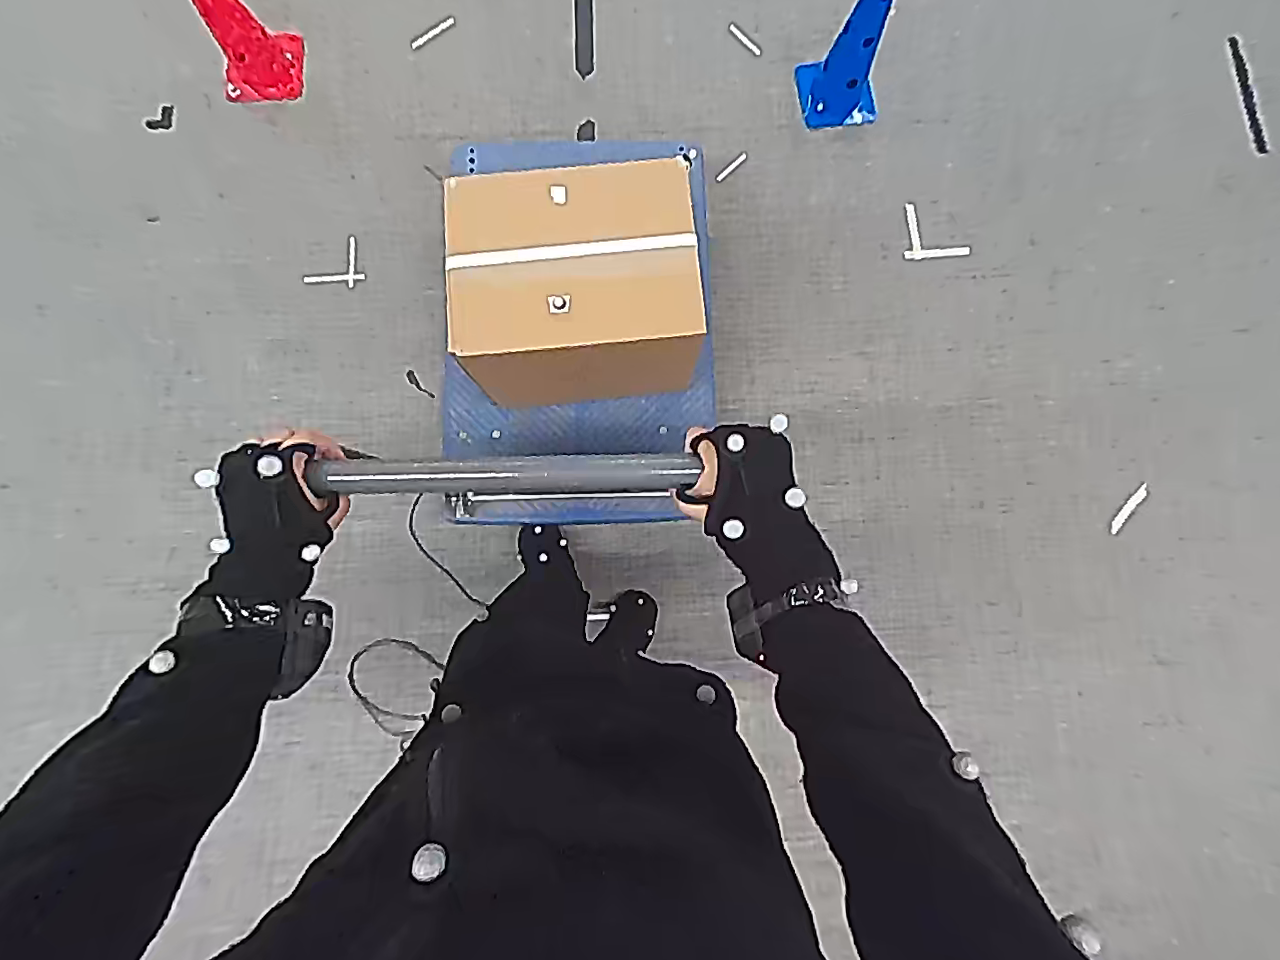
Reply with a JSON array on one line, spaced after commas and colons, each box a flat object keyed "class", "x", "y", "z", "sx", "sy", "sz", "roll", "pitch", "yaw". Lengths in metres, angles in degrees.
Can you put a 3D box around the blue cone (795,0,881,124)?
[{"class": "blue cone", "x": 0.532, "y": -1.088, "z": 1.320, "sx": 0.193, "sy": 0.380, "sz": 0.192, "roll": -6, "pitch": 81, "yaw": -2}]
